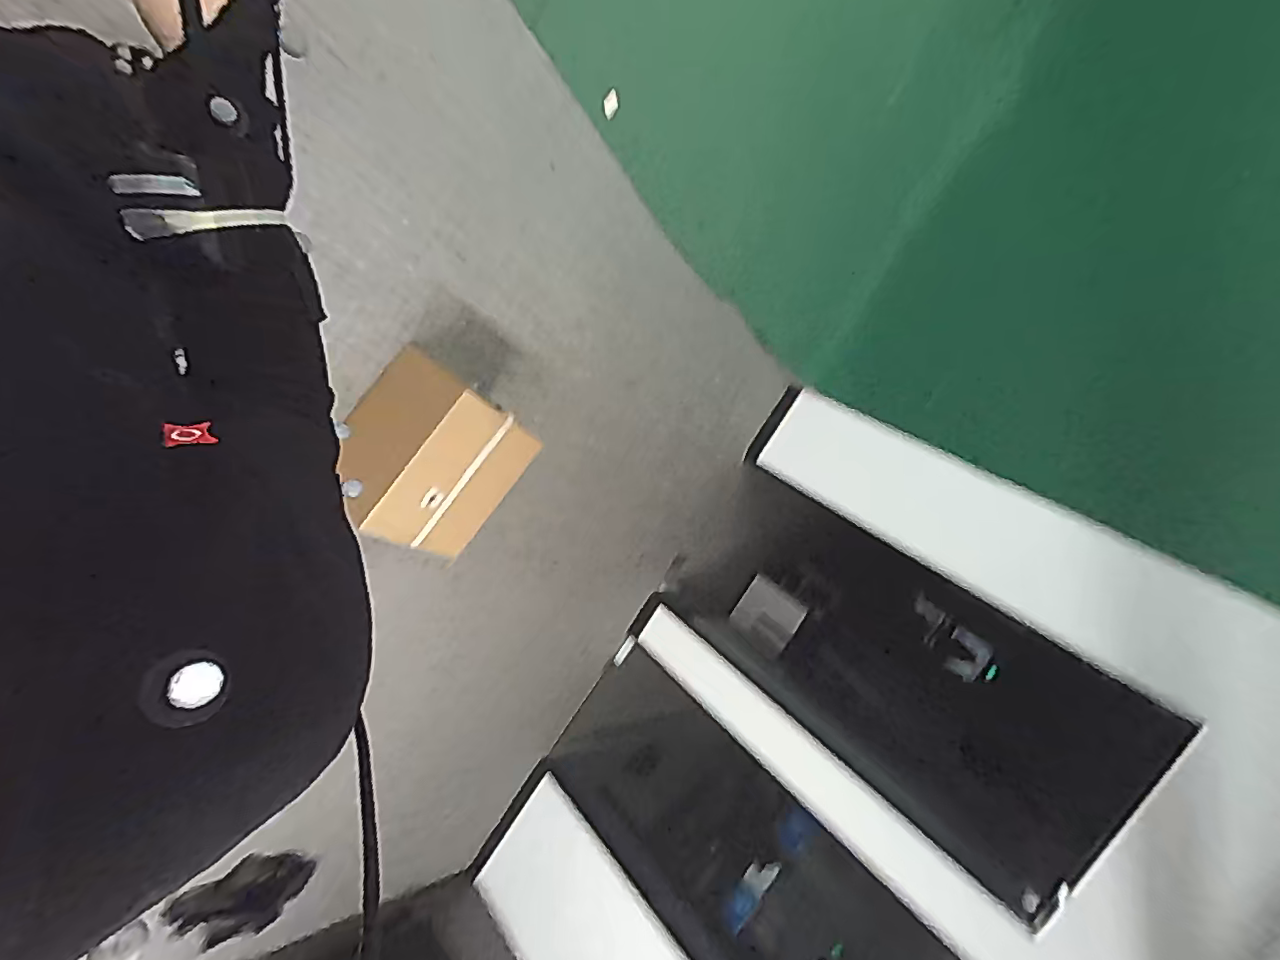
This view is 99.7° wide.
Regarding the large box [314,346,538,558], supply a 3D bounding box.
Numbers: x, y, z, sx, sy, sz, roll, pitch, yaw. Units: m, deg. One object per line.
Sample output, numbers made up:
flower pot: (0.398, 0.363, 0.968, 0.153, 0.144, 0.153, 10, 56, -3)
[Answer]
large box: (-0.556, -0.069, 1.428, 0.408, 0.320, 0.320, -52, 146, -1)
